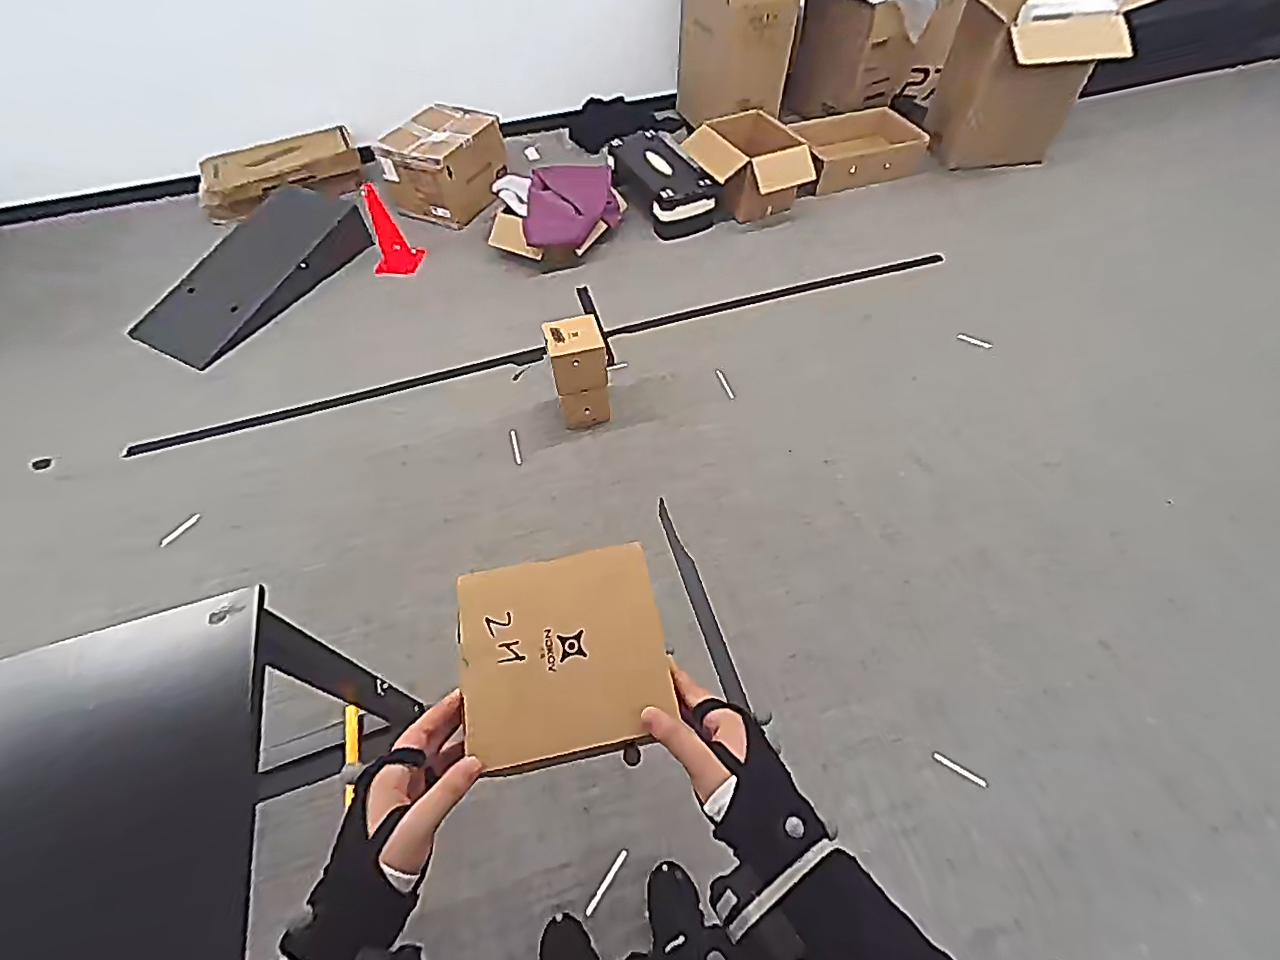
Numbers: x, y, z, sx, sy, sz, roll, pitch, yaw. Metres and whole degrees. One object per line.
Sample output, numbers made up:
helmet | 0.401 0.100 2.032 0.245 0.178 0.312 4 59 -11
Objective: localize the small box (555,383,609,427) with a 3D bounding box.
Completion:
small box | -0.210 -0.306 1.902 0.168 0.176 0.179 -14 57 -7

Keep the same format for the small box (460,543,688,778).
small box | -0.062 0.179 0.526 0.179 0.176 0.168 -10 62 -5

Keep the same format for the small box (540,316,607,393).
small box | -0.216 -0.406 1.769 0.179 0.176 0.168 -14 56 -8
